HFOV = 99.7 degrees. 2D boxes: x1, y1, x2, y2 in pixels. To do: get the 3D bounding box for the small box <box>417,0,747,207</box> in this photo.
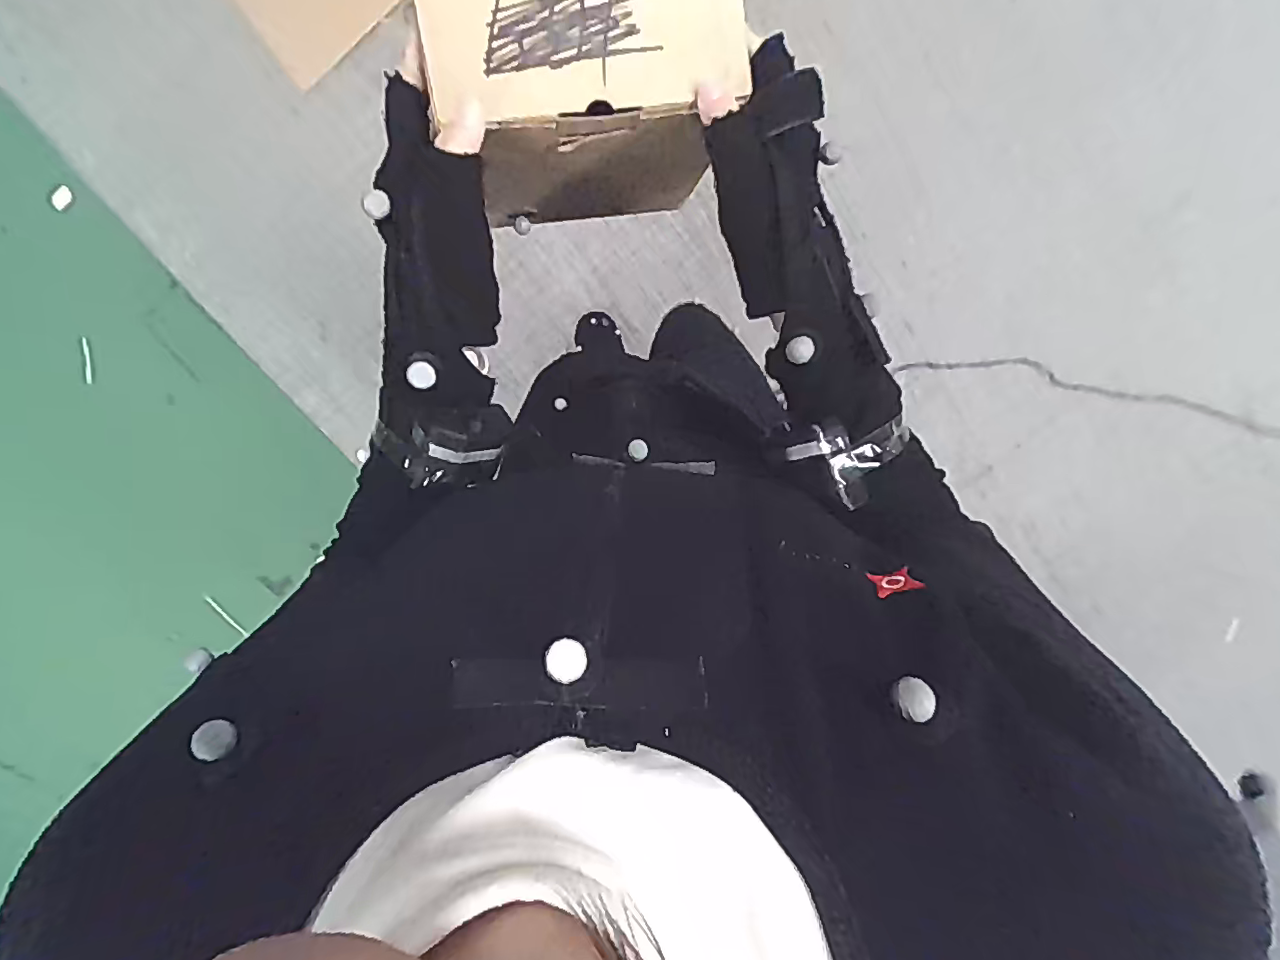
[{"bbox_3d":[-0.041,-0.291,0.344,0.168,0.176,0.179,-8,98,-6],"label":"small box"}]
